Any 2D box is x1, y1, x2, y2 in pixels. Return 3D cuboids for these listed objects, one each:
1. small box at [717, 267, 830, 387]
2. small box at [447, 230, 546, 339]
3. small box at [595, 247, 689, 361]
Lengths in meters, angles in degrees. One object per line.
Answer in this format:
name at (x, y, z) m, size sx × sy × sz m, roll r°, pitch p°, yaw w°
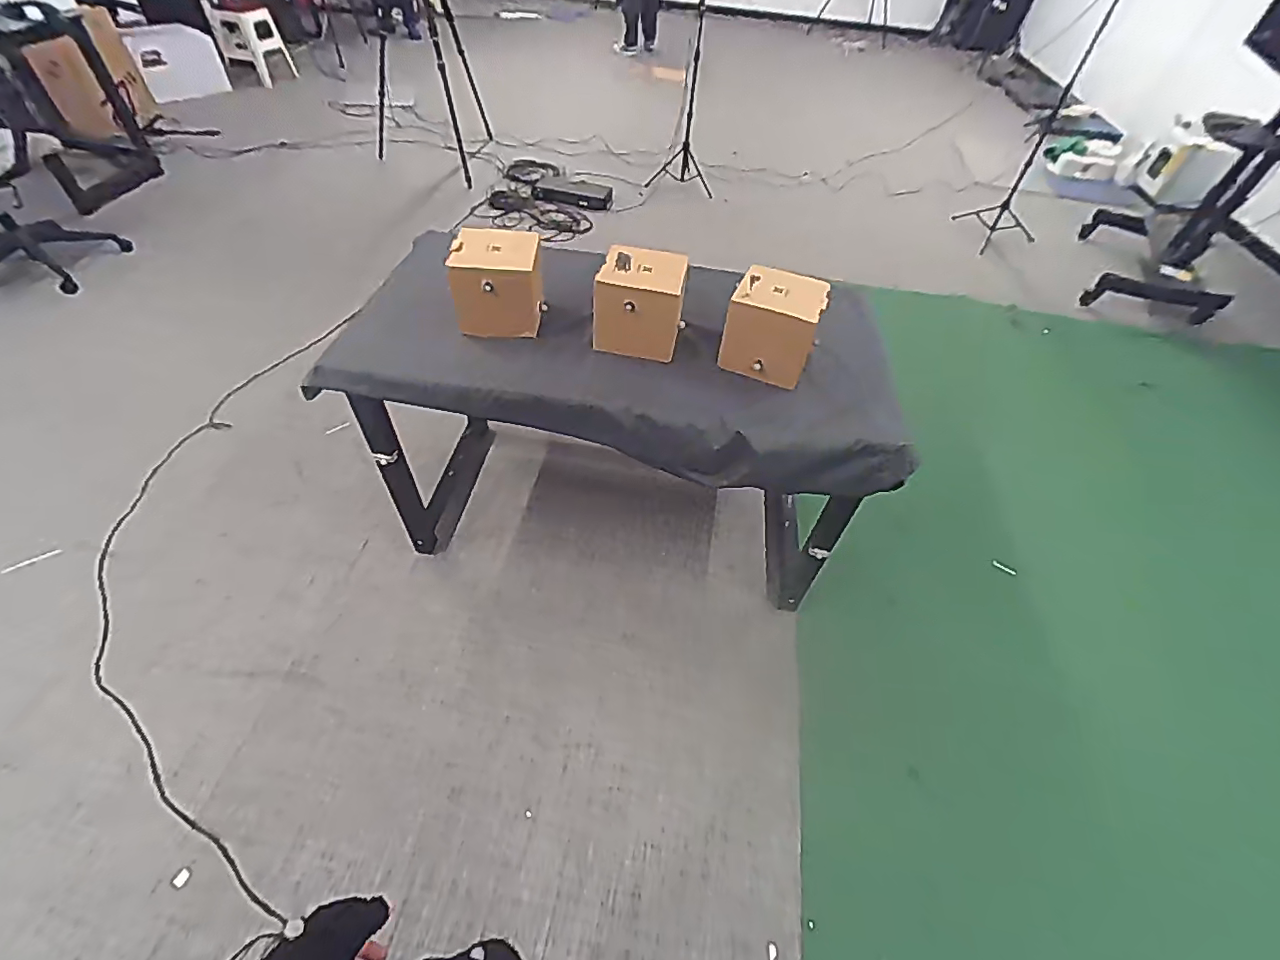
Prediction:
small box at (0.284, -0.324, 1.163) m, size 0.179 × 0.176 × 0.168 m, roll 21°, pitch 51°, yaw 12°
small box at (-0.309, -0.432, 1.203) m, size 0.179 × 0.176 × 0.168 m, roll 3°, pitch 51°, yaw -5°
small box at (0.003, -0.383, 1.187) m, size 0.179 × 0.176 × 0.168 m, roll 11°, pitch 49°, yaw 3°
